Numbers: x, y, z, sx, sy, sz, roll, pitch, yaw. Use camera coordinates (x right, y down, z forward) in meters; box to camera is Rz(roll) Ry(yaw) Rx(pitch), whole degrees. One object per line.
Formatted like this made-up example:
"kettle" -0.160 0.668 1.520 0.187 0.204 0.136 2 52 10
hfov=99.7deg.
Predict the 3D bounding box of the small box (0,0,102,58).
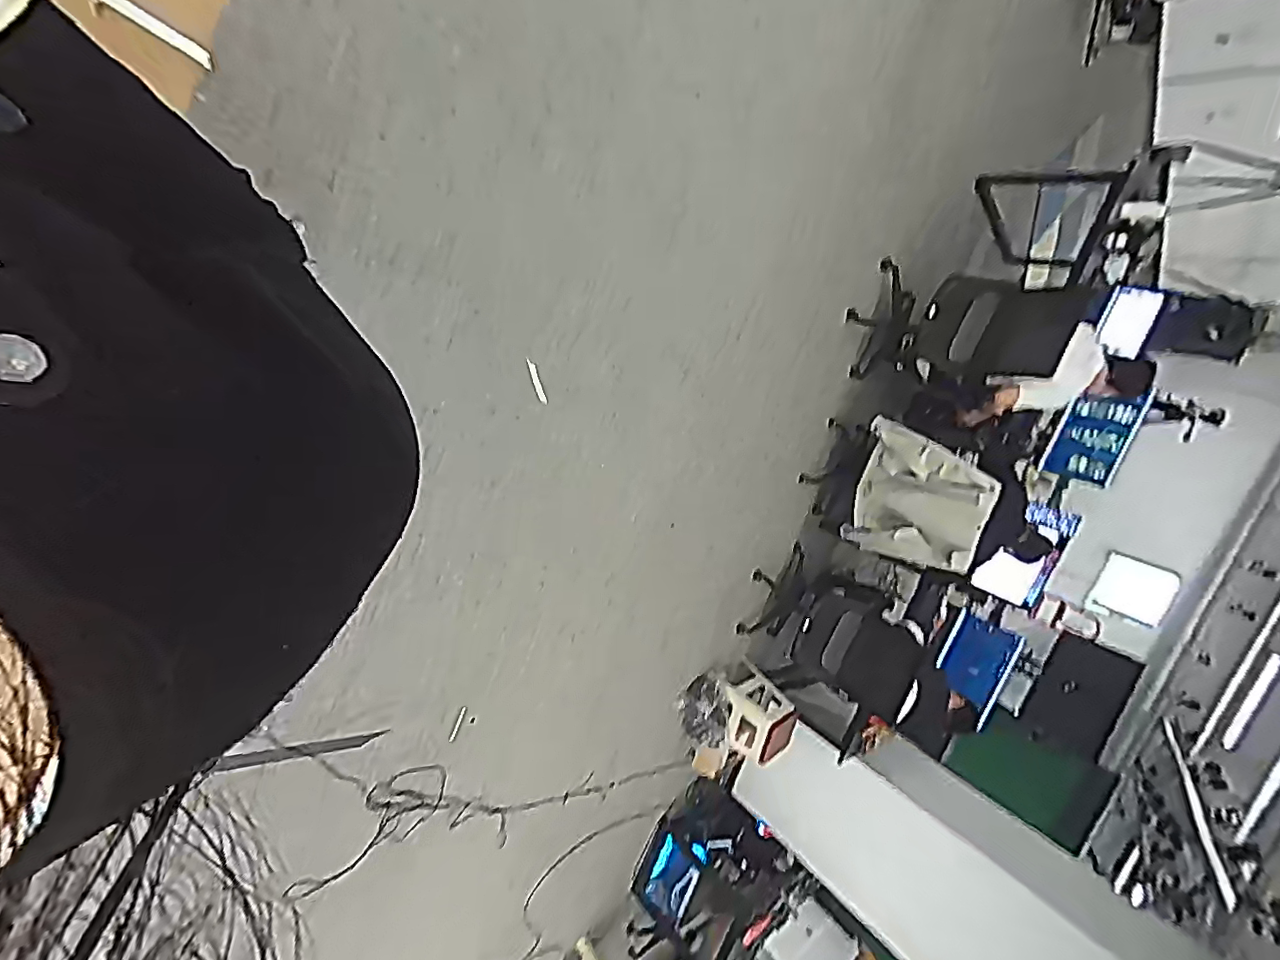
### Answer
"small box" -0.734 -0.623 0.612 0.179 0.176 0.168 14 102 -48
